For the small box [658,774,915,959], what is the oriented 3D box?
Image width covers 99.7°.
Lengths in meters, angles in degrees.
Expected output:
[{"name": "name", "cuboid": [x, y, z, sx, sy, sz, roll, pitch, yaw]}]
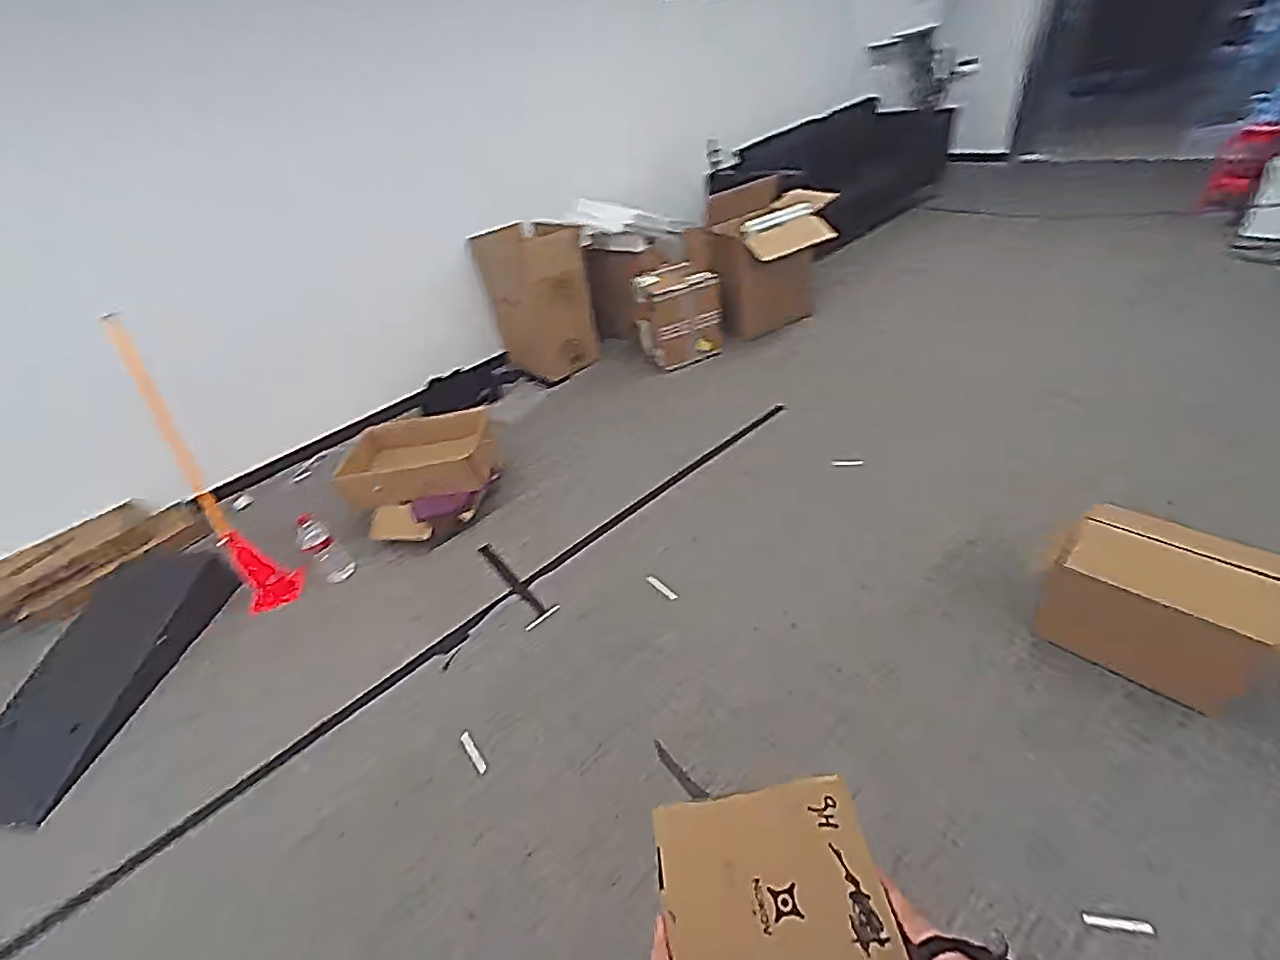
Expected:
[{"name": "small box", "cuboid": [0.119, 0.386, 0.473, 0.179, 0.176, 0.168, -9, 41, 1]}]
